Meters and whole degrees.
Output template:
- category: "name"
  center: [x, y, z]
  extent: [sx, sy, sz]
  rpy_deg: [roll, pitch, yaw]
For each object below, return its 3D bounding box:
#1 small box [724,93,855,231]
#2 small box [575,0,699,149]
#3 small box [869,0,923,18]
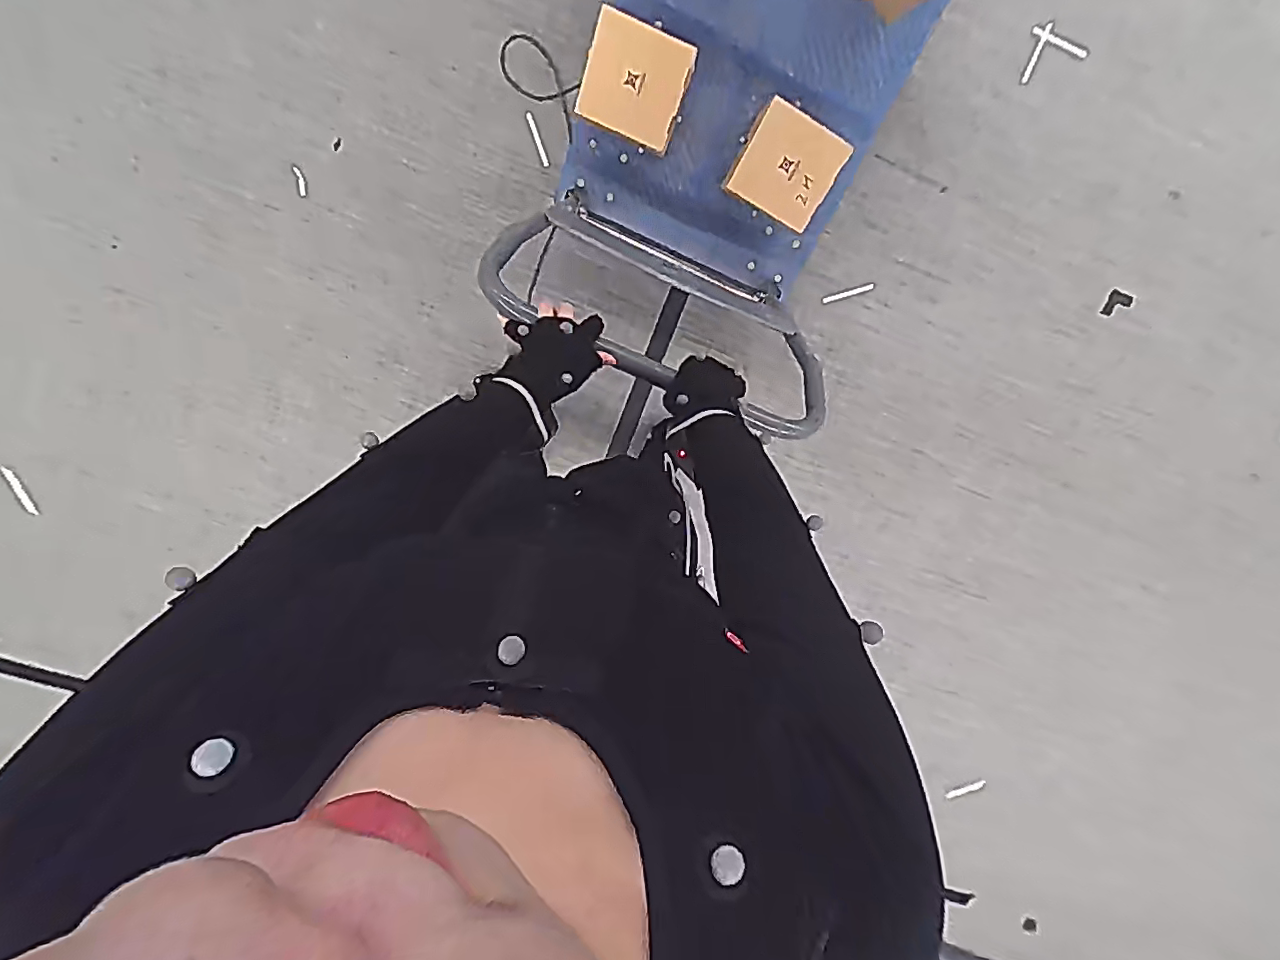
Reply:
- category: "small box"
  center: [0.282, -0.619, 1.070]
  extent: [0.179, 0.176, 0.168]
  rpy_deg: [27, 117, -11]
- category: "small box"
  center: [-0.006, -0.745, 1.019]
  extent: [0.179, 0.176, 0.168]
  rpy_deg: [19, 118, -9]
- category: "small box"
  center: [0.455, -0.928, 0.894]
  extent: [0.168, 0.176, 0.179]
  rpy_deg: [32, 116, -14]
